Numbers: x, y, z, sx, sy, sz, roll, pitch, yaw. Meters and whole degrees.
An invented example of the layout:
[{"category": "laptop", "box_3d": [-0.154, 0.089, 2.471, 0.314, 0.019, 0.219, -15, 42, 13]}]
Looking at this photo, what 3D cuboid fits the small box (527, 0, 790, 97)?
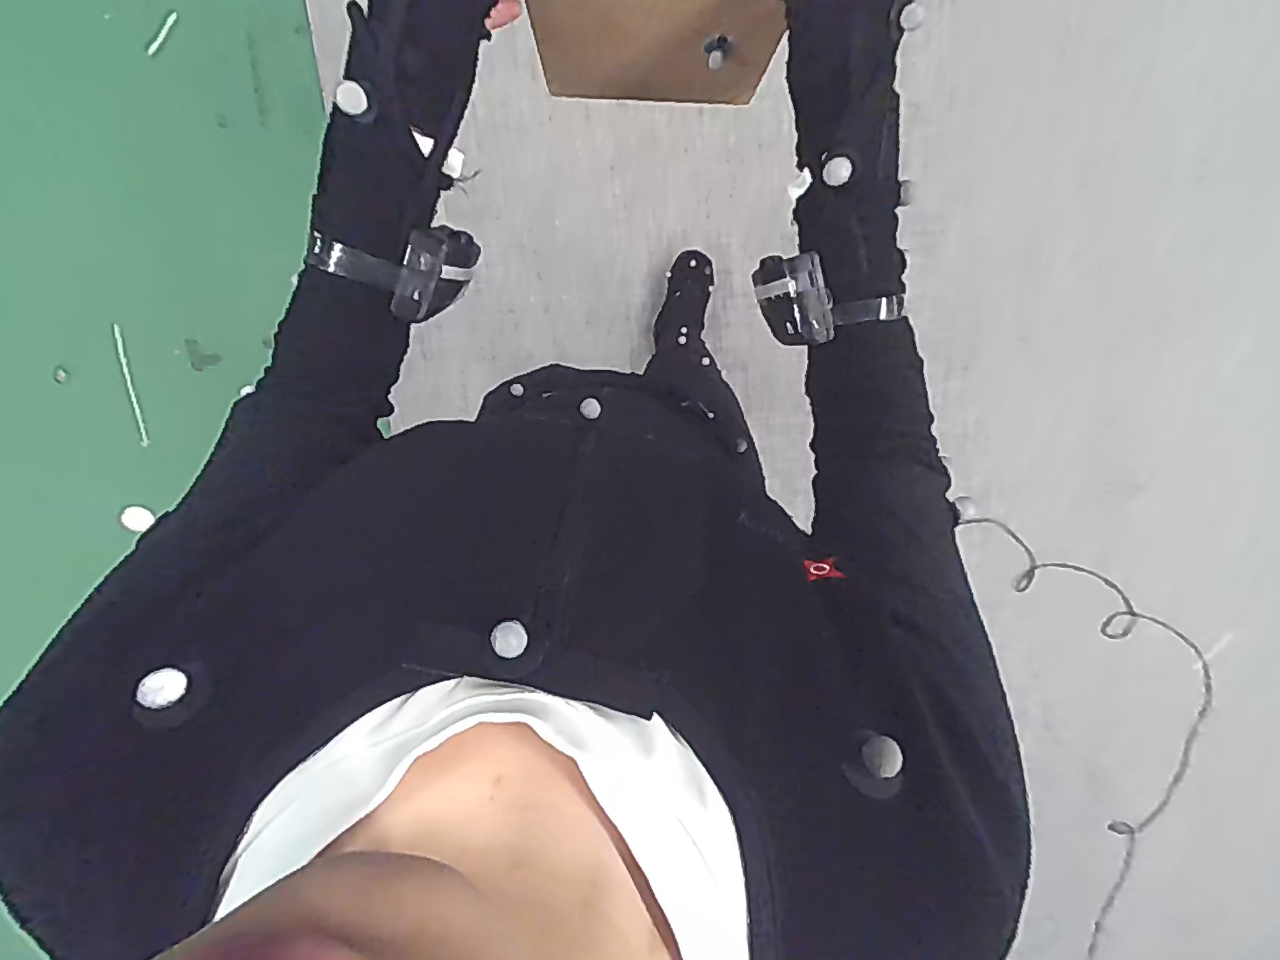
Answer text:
[{"category": "small box", "box_3d": [0.013, -0.396, 0.373, 0.179, 0.176, 0.168, 0, 100, 0]}]
